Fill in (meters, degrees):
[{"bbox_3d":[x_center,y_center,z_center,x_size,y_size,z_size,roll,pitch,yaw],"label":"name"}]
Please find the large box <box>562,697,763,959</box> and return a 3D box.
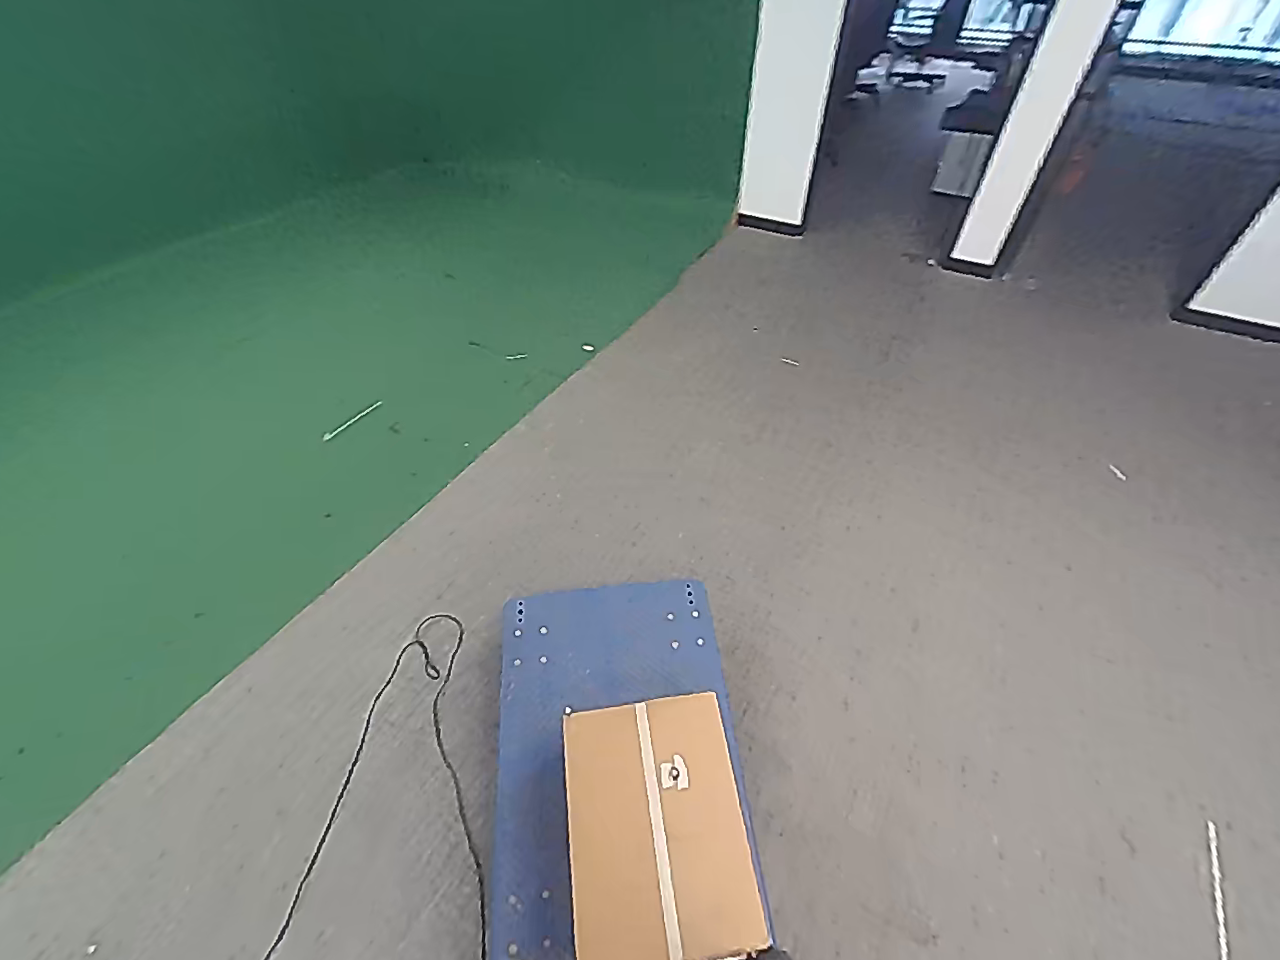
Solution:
[{"bbox_3d":[0.026,0.713,1.106,0.320,0.320,0.408,-6,53,-5],"label":"large box"}]
